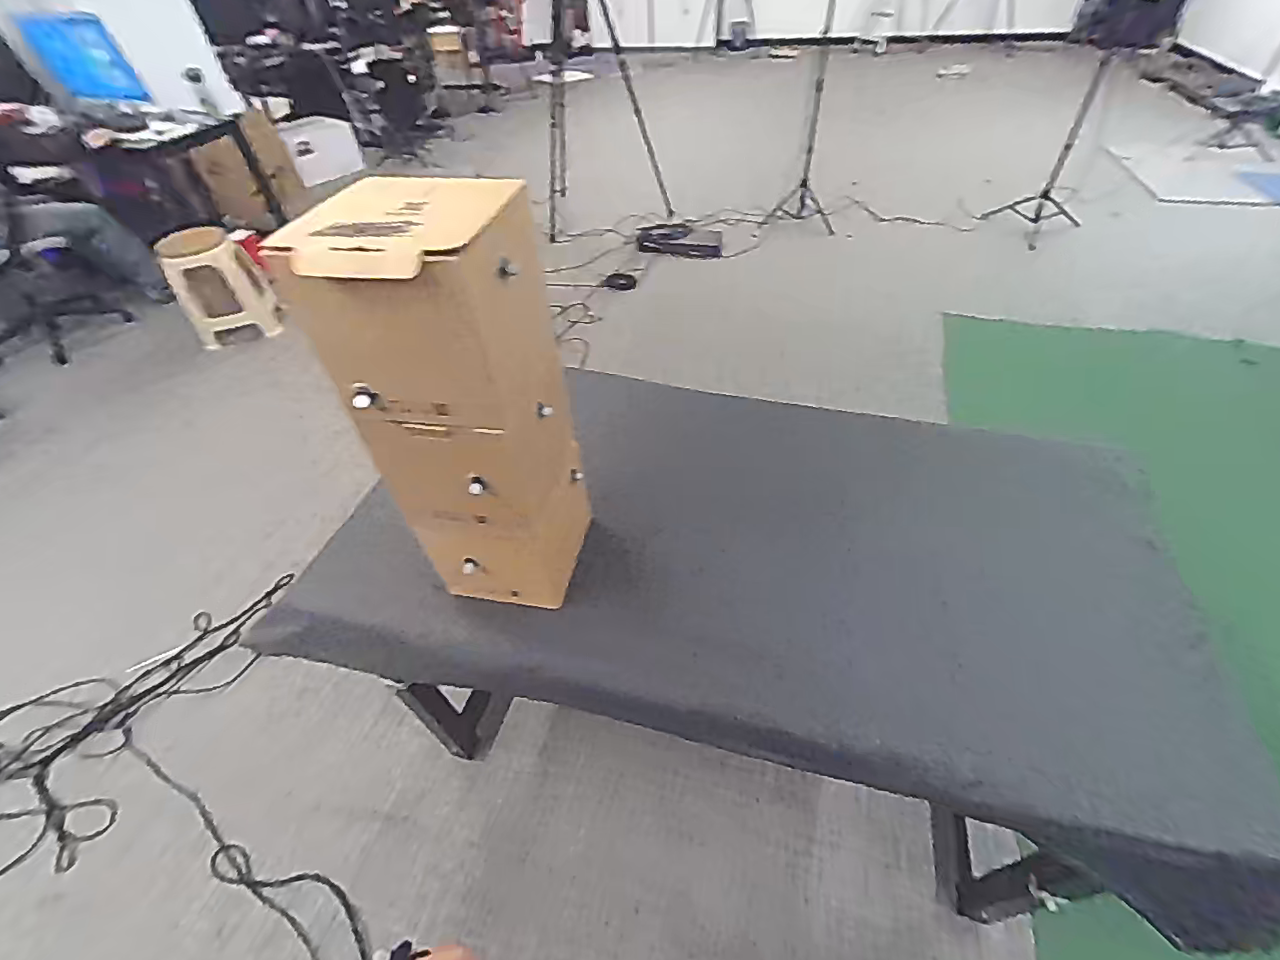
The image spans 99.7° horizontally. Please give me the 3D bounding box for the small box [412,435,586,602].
[{"bbox_3d":[-0.179,0.049,0.756,0.168,0.176,0.179,7,46,9],"label":"small box"}]

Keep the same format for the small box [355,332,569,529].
[{"bbox_3d":[-0.187,-0.062,0.638,0.168,0.176,0.179,7,45,8],"label":"small box"}]

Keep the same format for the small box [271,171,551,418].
[{"bbox_3d":[-0.191,-0.178,0.521,0.168,0.176,0.179,6,46,7],"label":"small box"}]
